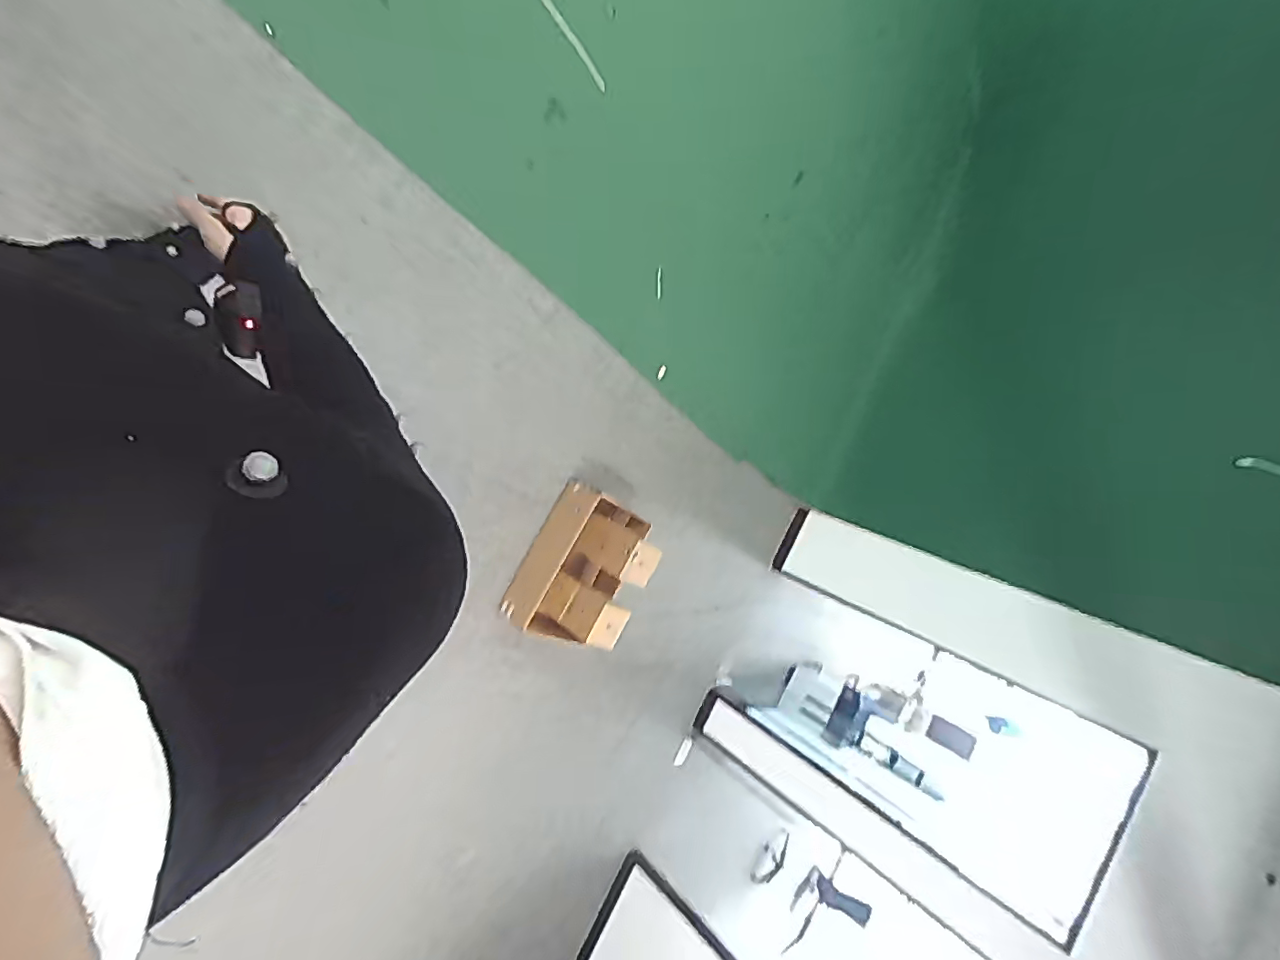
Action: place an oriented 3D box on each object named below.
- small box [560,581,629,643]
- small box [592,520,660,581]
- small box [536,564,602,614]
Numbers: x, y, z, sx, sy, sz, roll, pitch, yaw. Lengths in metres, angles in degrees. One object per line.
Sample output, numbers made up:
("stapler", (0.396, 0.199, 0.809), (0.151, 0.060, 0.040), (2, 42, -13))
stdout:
("small box", (-0.184, 0.518, 2.139), (0.179, 0.176, 0.168), (36, 81, -49))
("small box", (-0.057, 0.279, 2.152), (0.179, 0.176, 0.168), (33, 84, -49))
("small box", (-0.299, 0.465, 2.246), (0.179, 0.176, 0.168), (36, 81, -49))
